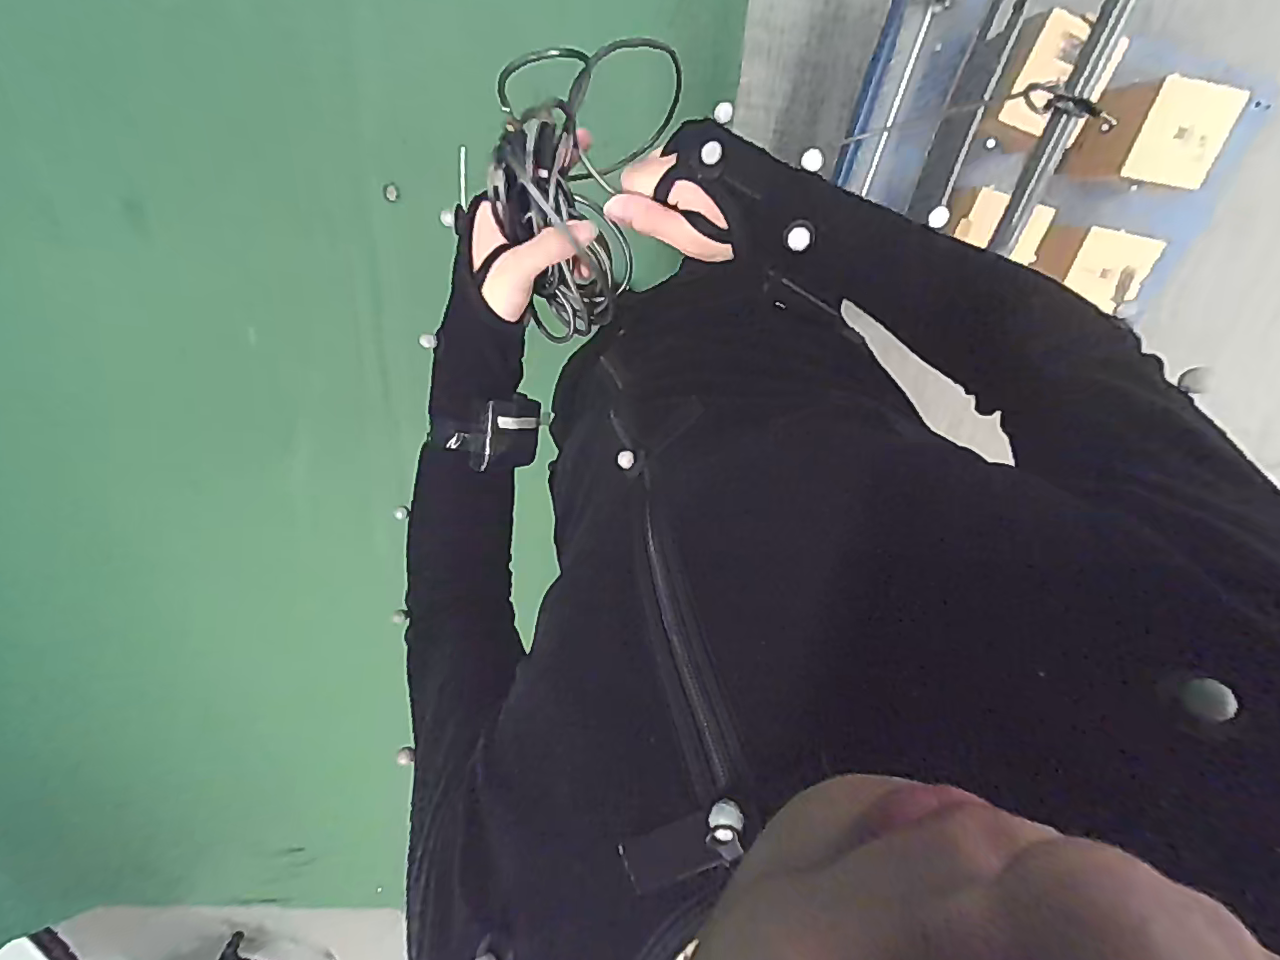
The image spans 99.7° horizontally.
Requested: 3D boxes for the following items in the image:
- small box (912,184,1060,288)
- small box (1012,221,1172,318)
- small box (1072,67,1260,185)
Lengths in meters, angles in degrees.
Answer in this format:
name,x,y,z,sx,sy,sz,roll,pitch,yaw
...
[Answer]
name,x,y,z,sx,sy,sz,roll,pitch,yaw
small box,0.737,-0.532,1.173,0.179,0.176,0.168,12,116,-6
small box,0.993,-0.474,1.205,0.179,0.176,0.168,9,116,-5
small box,1.038,-0.700,1.089,0.179,0.176,0.168,8,118,-5
